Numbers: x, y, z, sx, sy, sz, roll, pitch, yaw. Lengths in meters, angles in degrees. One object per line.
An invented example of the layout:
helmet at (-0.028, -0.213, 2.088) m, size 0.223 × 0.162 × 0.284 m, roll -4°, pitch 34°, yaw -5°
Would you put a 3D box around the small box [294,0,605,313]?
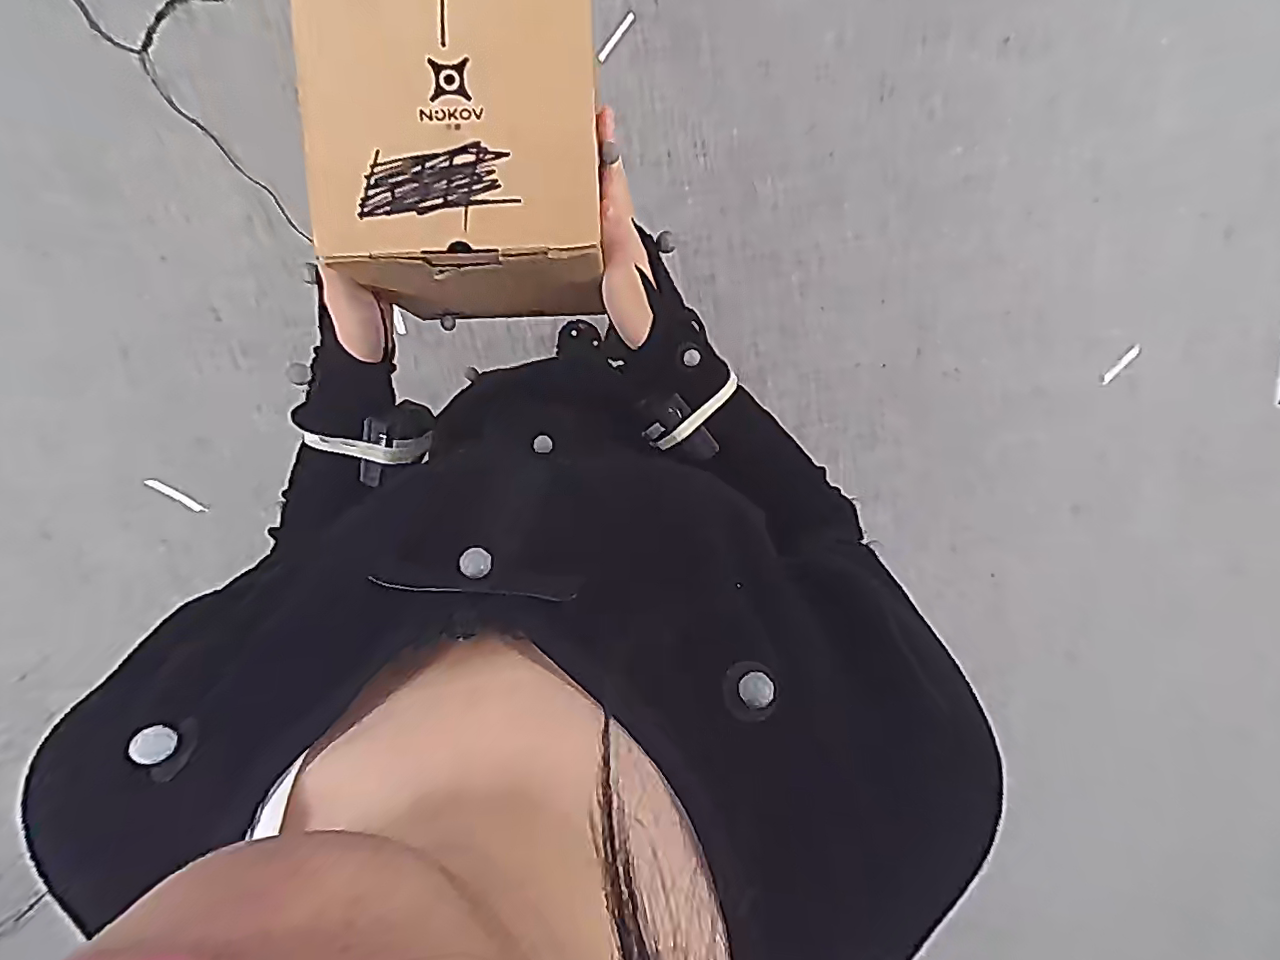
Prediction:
small box at (-0.111, -0.223, 0.387) m, size 0.168 × 0.176 × 0.179 m, roll -2°, pitch 93°, yaw -2°
